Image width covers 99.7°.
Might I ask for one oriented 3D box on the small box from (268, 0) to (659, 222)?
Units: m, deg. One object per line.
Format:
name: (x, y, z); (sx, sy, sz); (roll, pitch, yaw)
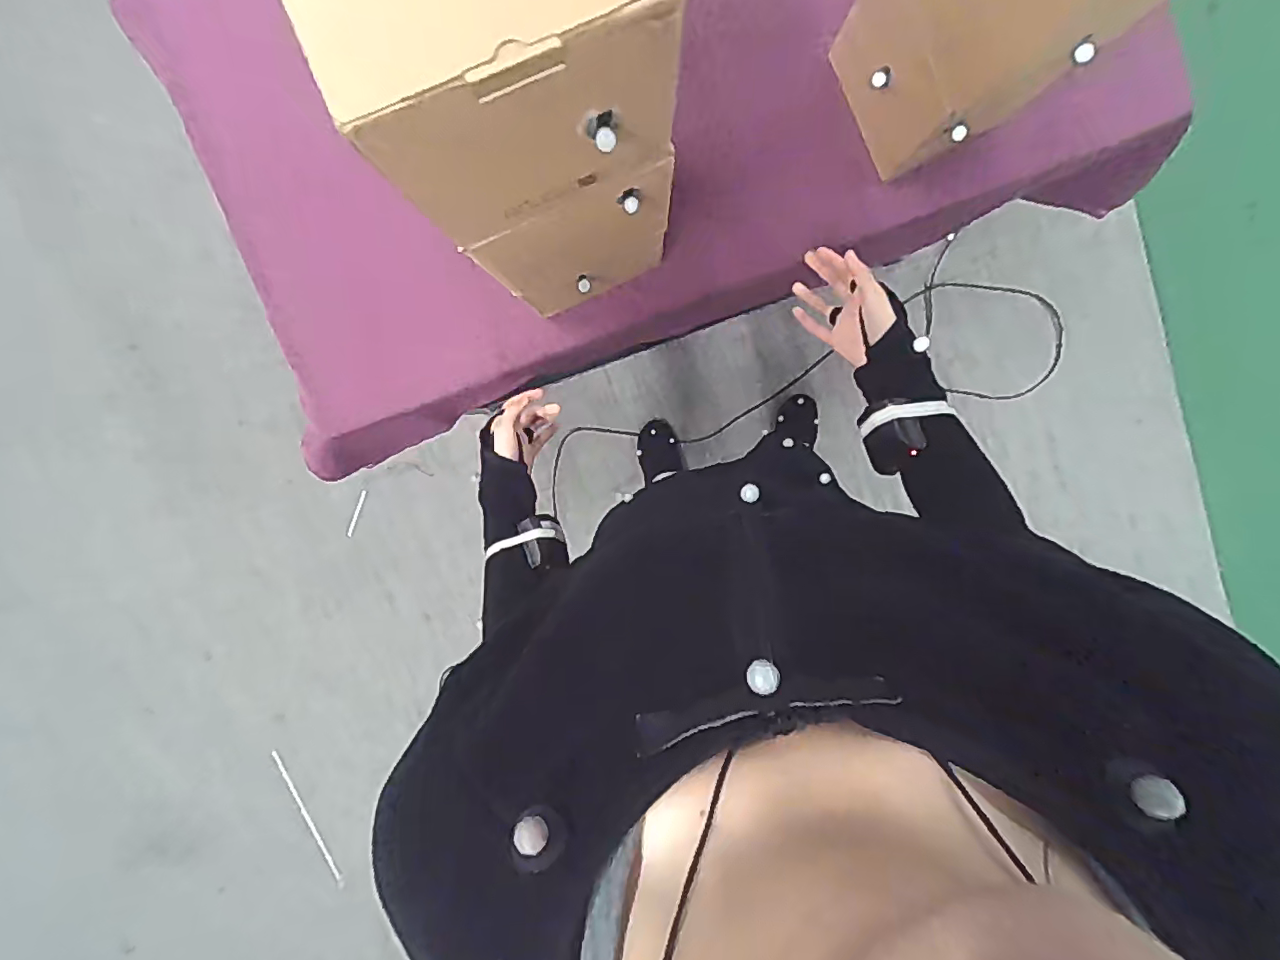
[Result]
small box: (-0.093, -0.271, 0.303); (0.168, 0.176, 0.179); (-20, 96, 2)

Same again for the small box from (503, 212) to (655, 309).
small box: (-0.090, -0.316, 0.625); (0.179, 0.176, 0.168); (-23, 97, 4)

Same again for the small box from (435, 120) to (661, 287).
small box: (-0.091, -0.288, 0.465); (0.179, 0.176, 0.168); (-23, 96, 3)
